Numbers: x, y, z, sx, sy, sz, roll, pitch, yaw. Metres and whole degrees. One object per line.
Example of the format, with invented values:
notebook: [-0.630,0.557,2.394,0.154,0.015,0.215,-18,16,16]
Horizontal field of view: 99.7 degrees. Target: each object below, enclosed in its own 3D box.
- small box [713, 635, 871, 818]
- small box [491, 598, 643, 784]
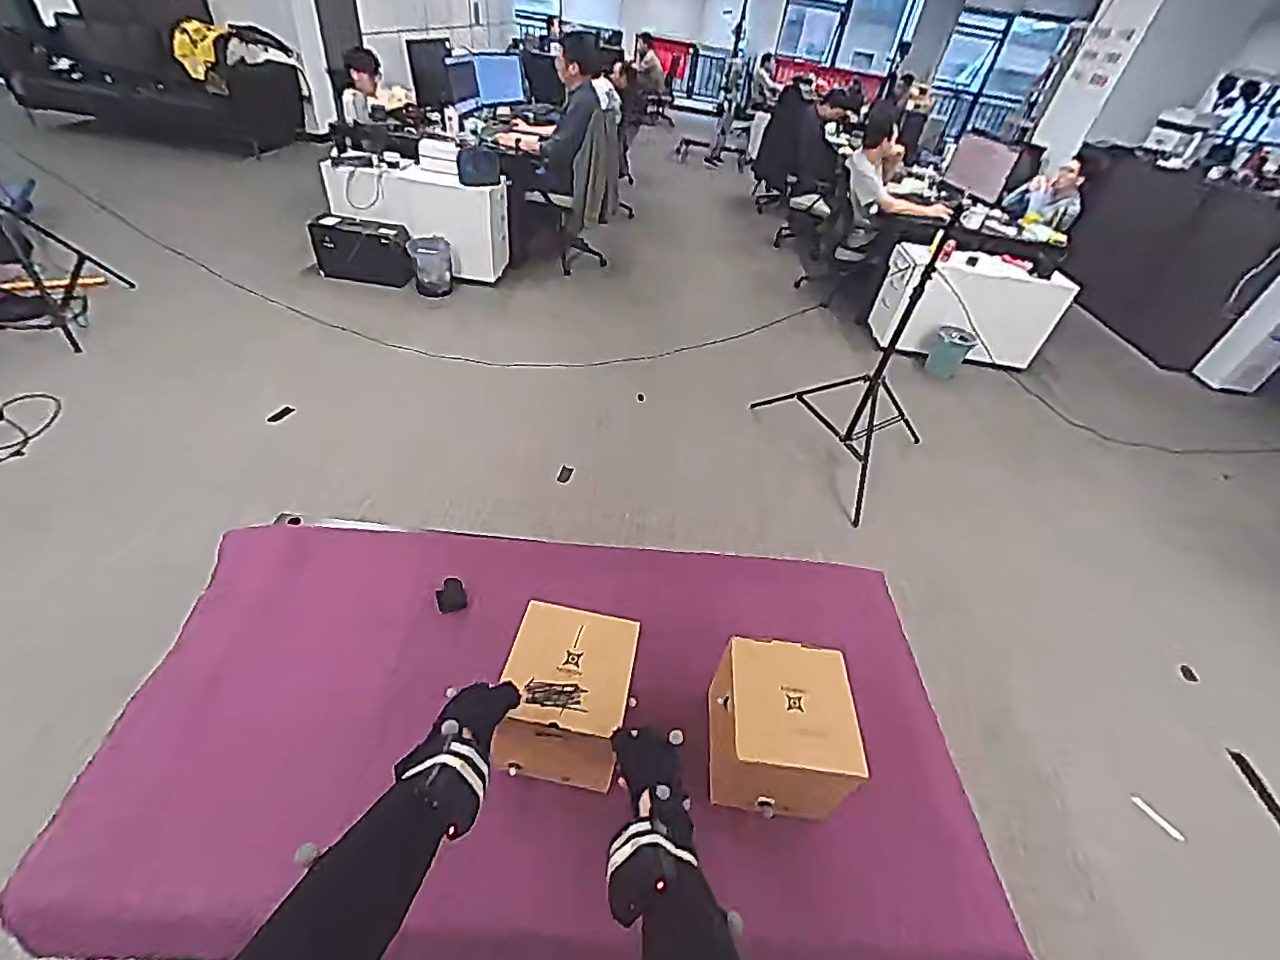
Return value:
small box: [0.200,0.352,0.775,0.168,0.176,0.179,7,42,0]
small box: [-0.098,0.302,0.770,0.168,0.176,0.179,12,40,2]
